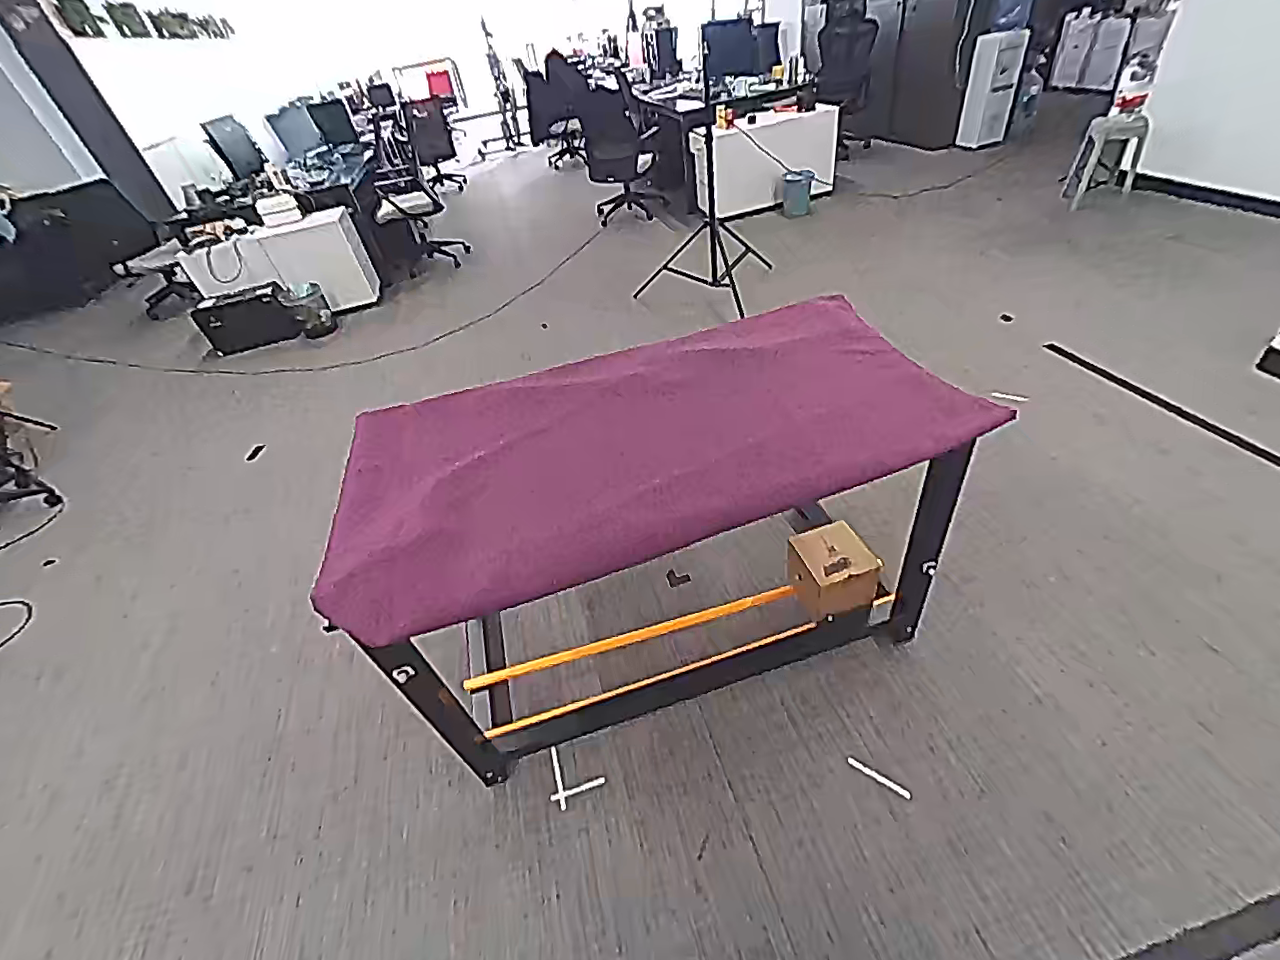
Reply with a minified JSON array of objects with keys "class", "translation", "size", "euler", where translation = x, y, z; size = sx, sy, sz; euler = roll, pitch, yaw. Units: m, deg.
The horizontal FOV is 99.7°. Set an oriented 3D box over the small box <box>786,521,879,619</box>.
[{"class":"small box","translation":[0.499,0.242,1.422],"size":[0.168,0.176,0.179],"euler":[-17,41,-5]}]
